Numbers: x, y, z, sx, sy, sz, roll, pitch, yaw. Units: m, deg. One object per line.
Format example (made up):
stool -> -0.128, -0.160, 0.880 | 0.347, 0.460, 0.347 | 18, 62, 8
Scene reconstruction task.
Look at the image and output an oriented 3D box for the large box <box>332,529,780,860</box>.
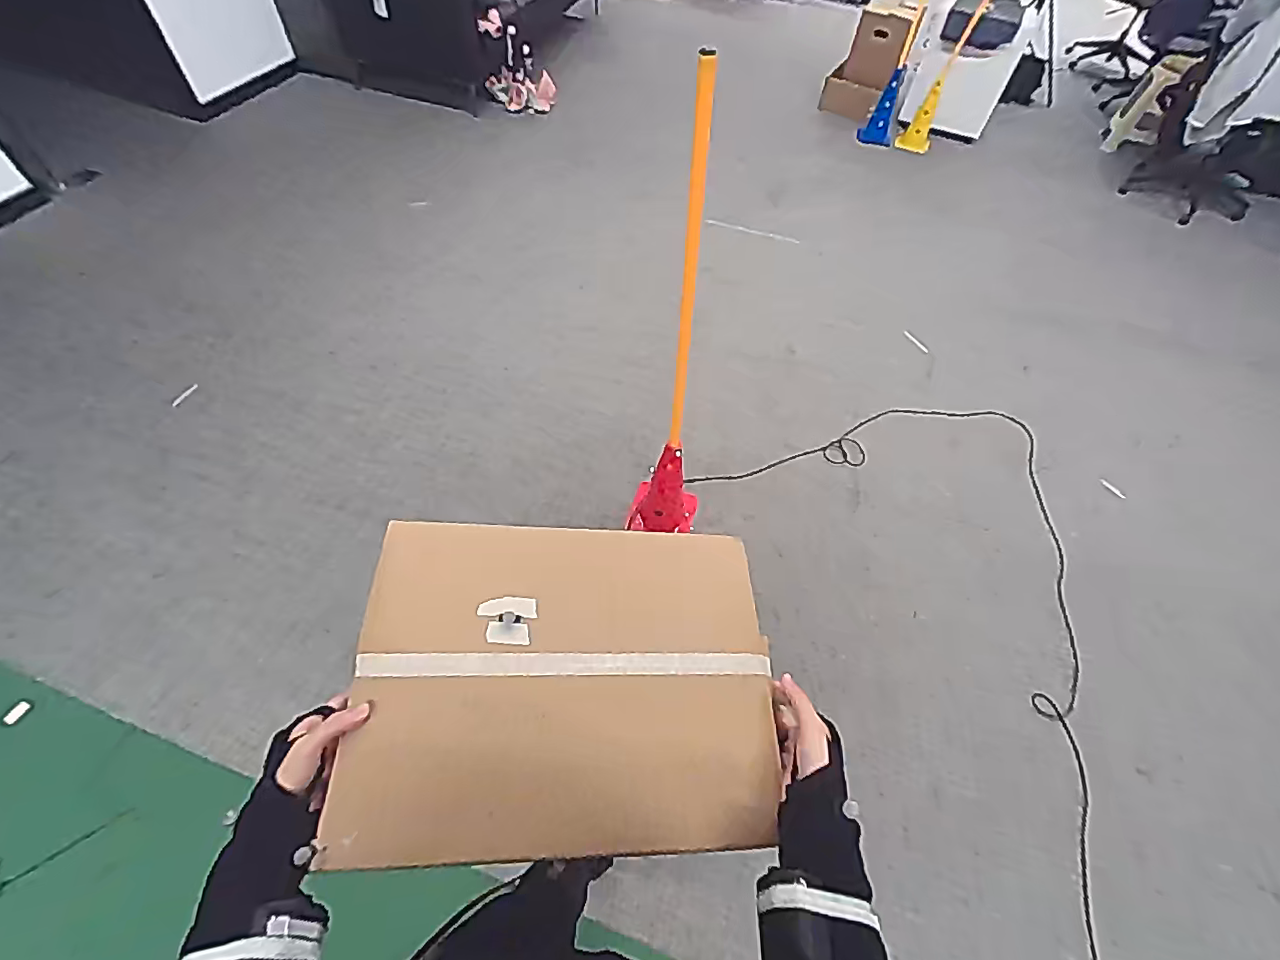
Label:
large box -> -0.090, 0.270, 0.681 | 0.408, 0.320, 0.320 | 3, 56, -9
